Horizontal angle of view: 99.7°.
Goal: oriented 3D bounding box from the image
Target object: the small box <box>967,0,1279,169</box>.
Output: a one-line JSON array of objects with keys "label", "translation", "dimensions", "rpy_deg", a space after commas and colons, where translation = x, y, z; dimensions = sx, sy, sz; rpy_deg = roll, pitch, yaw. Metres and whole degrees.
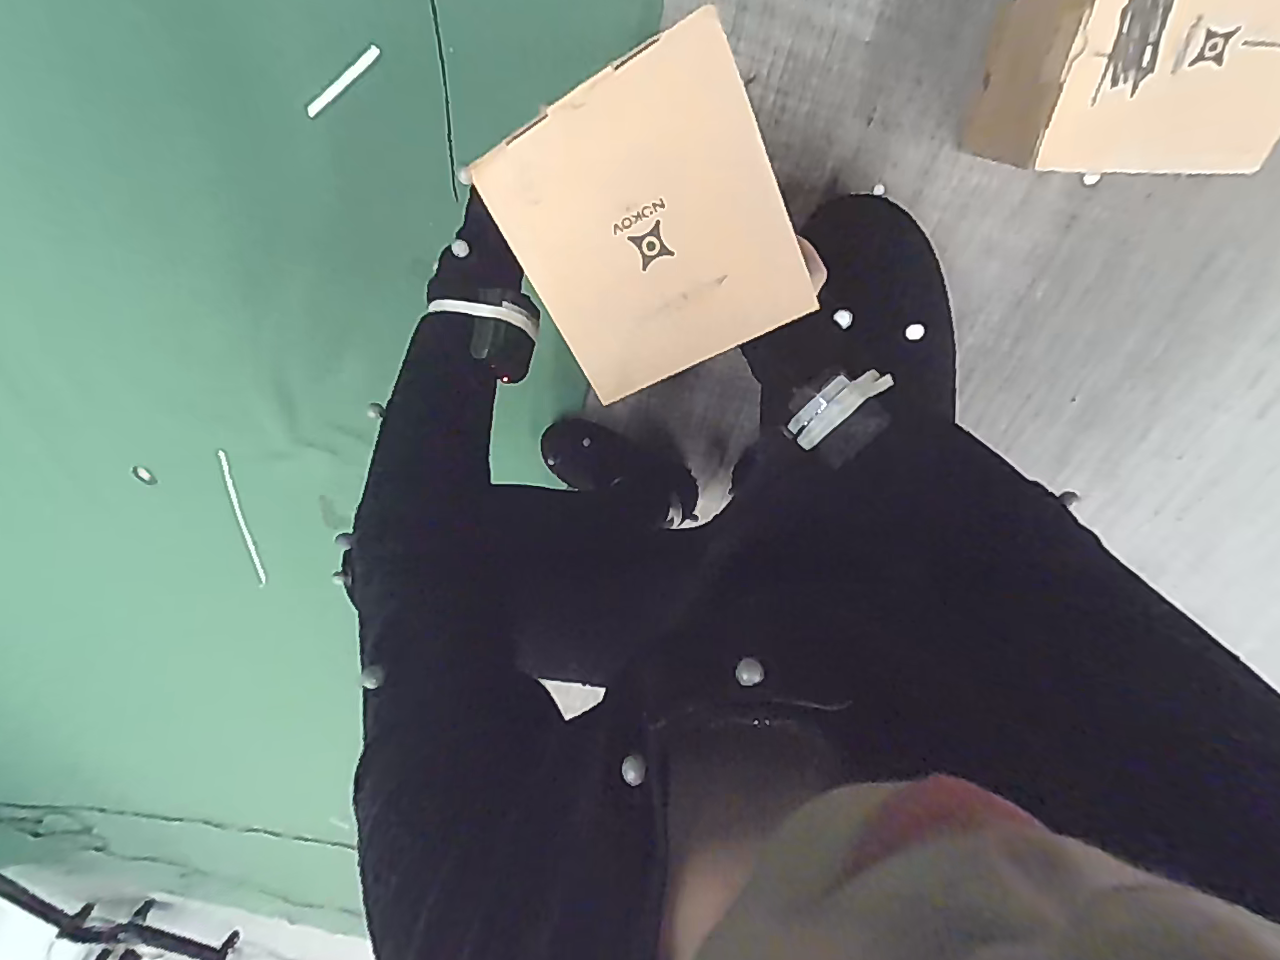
[{"label": "small box", "translation": [0.418, -0.370, 0.462], "dimensions": [0.179, 0.176, 0.168], "rpy_deg": [4, 127, 6]}]
